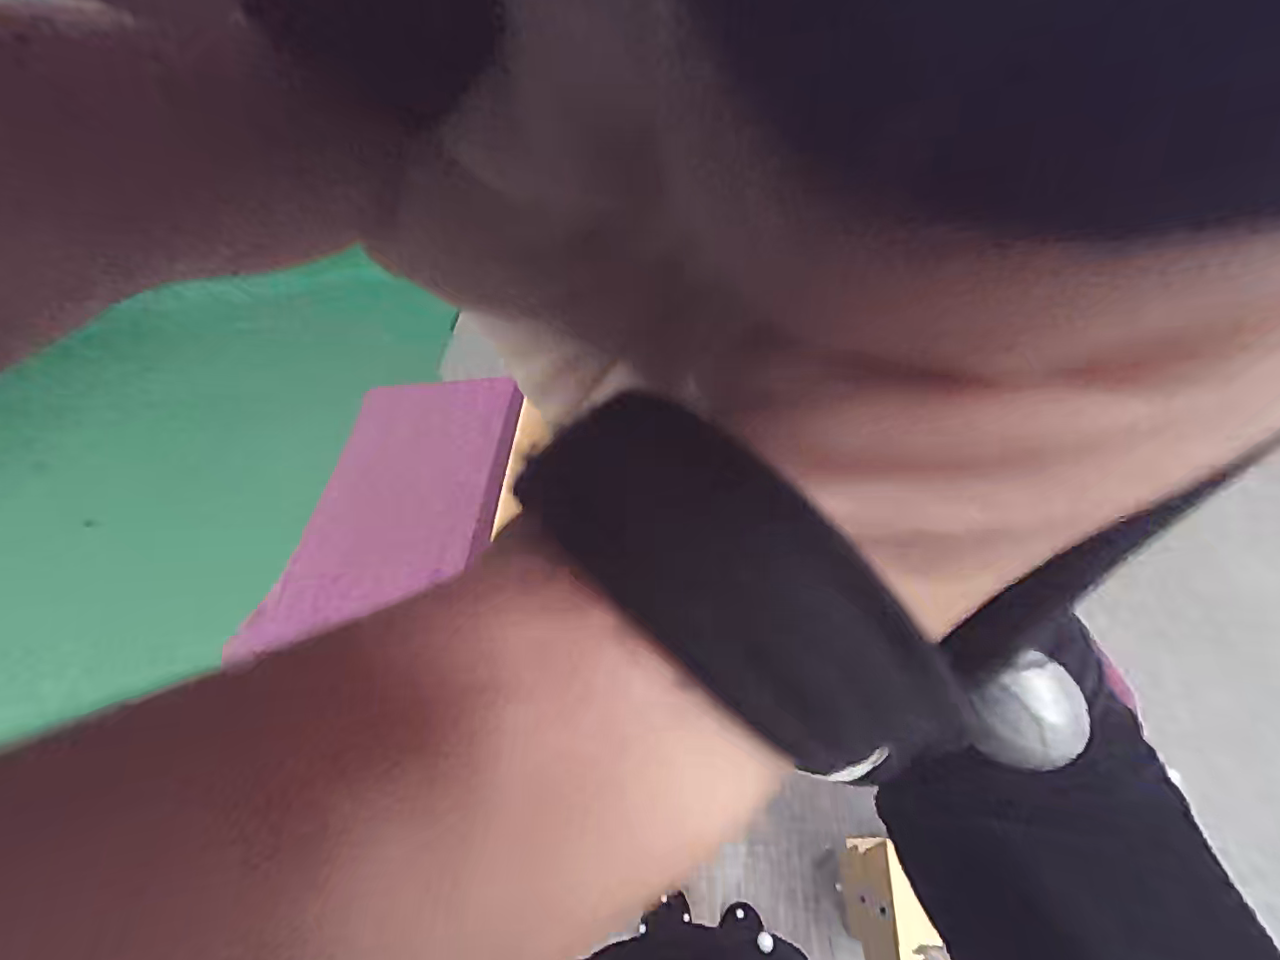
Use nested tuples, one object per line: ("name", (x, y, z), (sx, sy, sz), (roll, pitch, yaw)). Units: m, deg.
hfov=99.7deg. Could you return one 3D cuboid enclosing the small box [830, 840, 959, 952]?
("small box", (0.492, 0.820, 1.073), (0.179, 0.176, 0.168), (-5, 52, 7))
